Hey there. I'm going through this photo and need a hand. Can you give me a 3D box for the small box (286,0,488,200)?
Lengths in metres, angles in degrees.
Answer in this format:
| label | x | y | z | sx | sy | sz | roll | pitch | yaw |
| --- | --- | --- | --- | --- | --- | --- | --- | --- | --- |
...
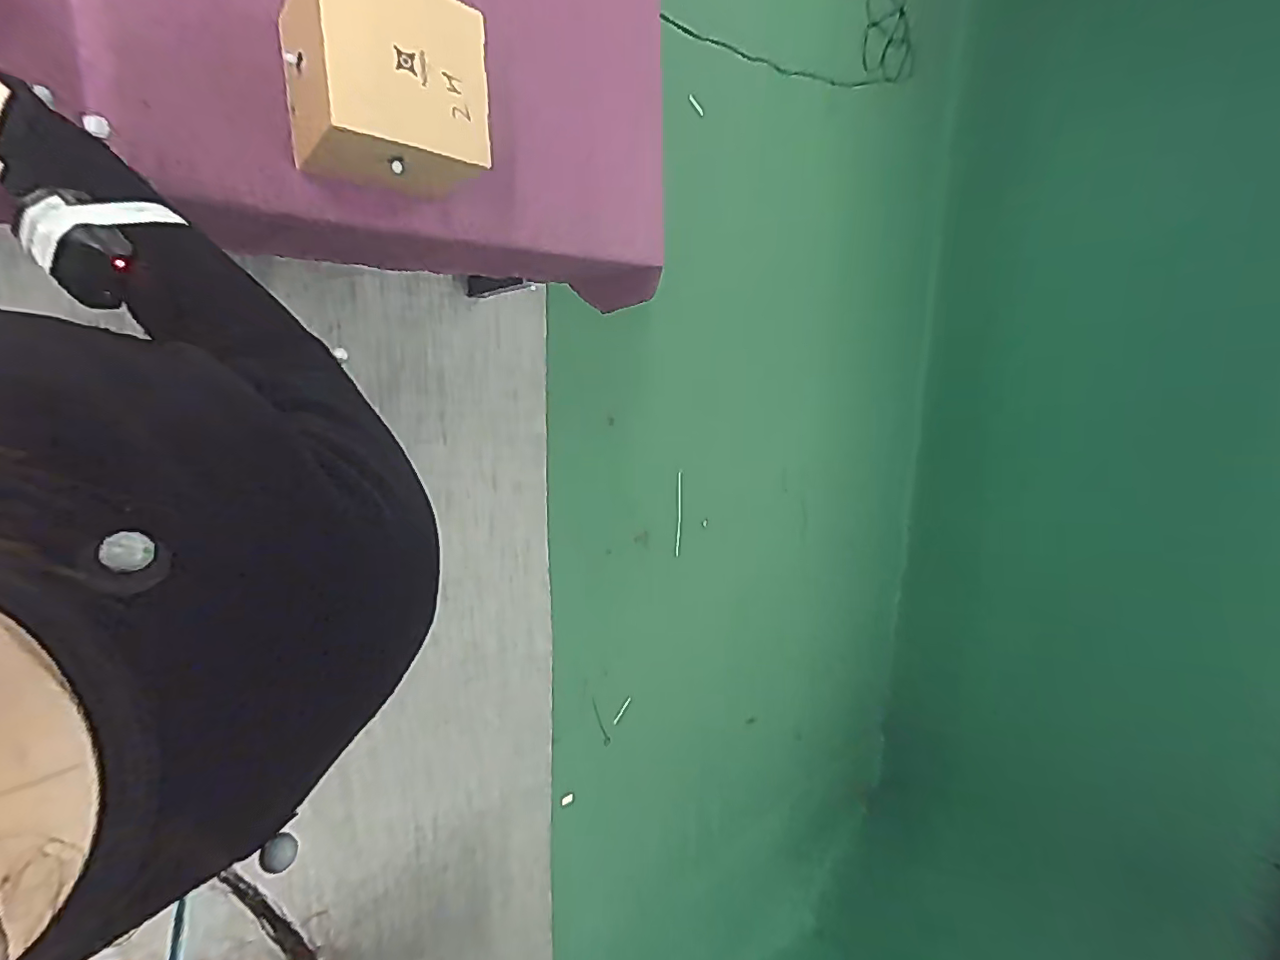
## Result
| label | x | y | z | sx | sy | sz | roll | pitch | yaw |
| --- | --- | --- | --- | --- | --- | --- | --- | --- | --- |
| small box | -0.302 | -0.451 | 0.640 | 0.179 | 0.176 | 0.168 | -10 | 105 | -42 |
